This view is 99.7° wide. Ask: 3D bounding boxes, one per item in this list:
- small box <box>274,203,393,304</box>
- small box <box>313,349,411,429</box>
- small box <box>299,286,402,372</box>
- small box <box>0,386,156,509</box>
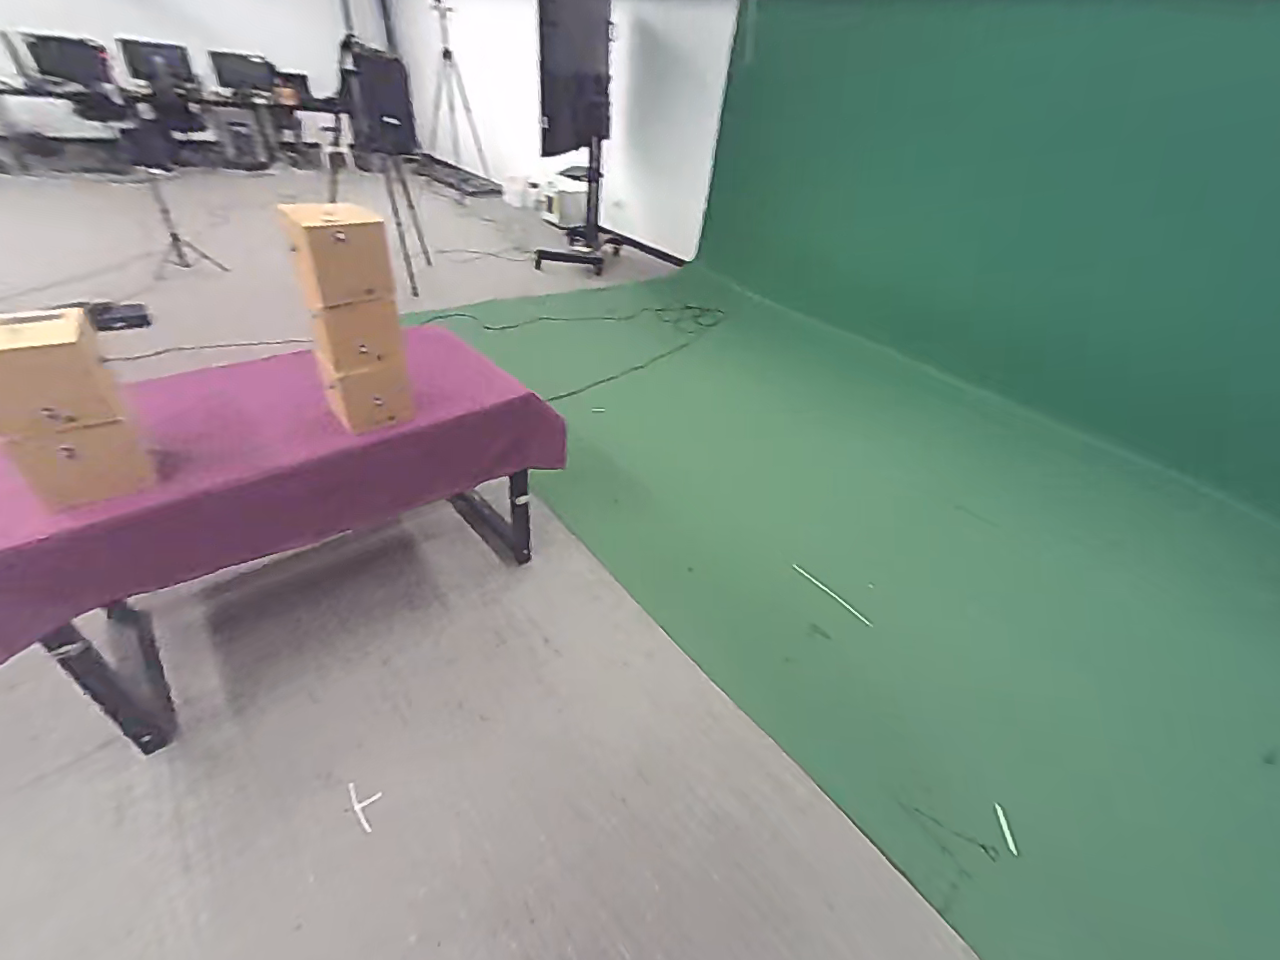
[{"bbox_3d":[-0.681,-0.510,1.213,0.168,0.176,0.179,-27,49,-36],"label":"small box"},{"bbox_3d":[-0.717,-0.247,1.405,0.168,0.176,0.179,-24,47,-35],"label":"small box"},{"bbox_3d":[-0.701,-0.381,1.314,0.168,0.176,0.179,-24,48,-34],"label":"small box"},{"bbox_3d":[-1.130,-0.066,1.095,0.179,0.176,0.168,-21,45,-33],"label":"small box"}]
